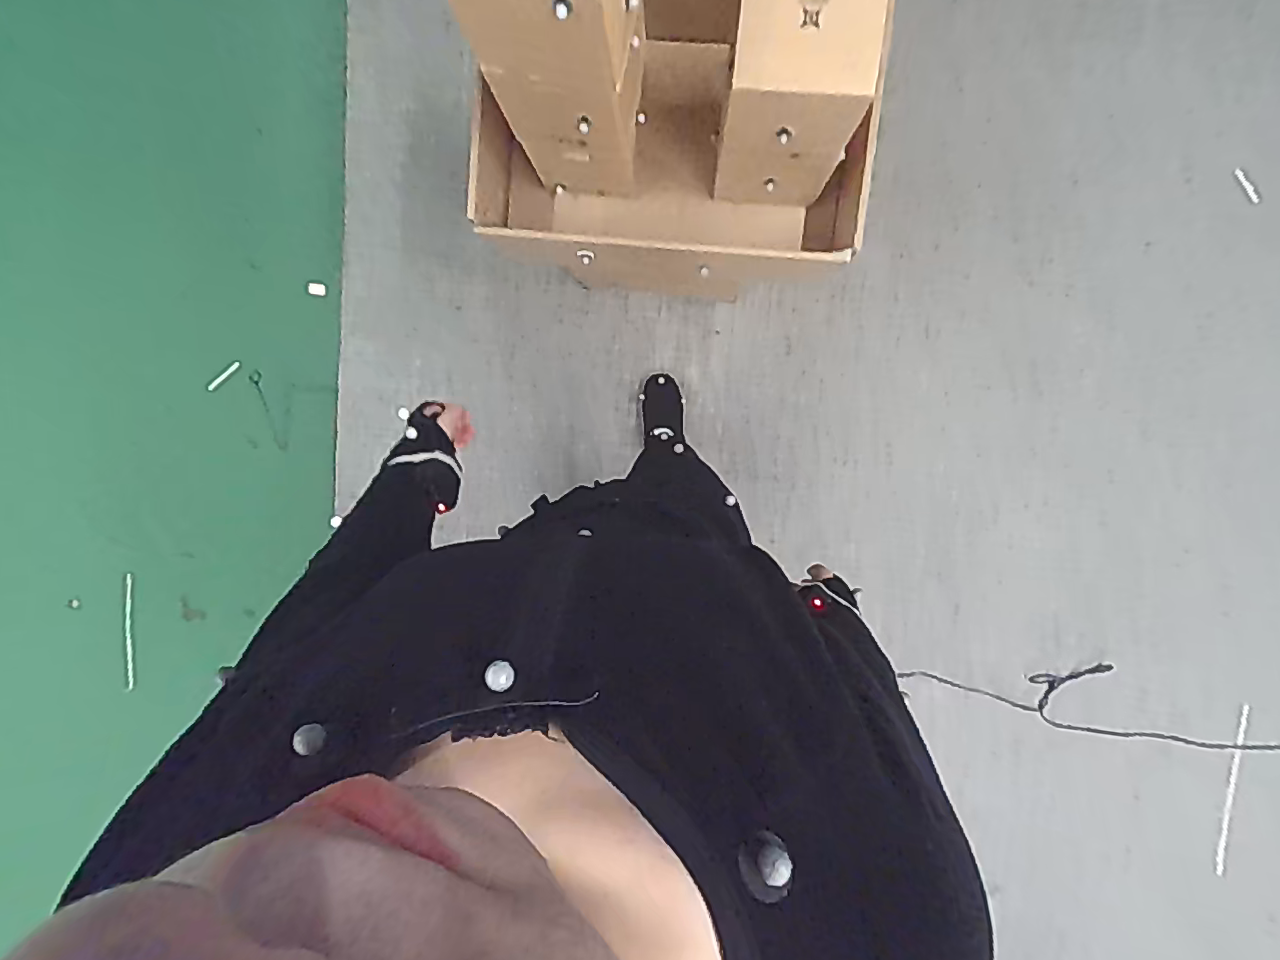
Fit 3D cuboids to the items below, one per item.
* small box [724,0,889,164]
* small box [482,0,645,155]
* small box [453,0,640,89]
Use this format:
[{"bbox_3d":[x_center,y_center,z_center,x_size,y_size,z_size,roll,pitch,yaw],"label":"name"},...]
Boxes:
[{"bbox_3d":[0.203,-0.536,0.693,0.168,0.176,0.179,7,96,3],"label":"small box"},{"bbox_3d":[-0.090,-0.567,0.715,0.168,0.176,0.179,12,96,2],"label":"small box"},{"bbox_3d":[-0.095,-0.547,0.554,0.179,0.176,0.168,15,96,0],"label":"small box"}]
